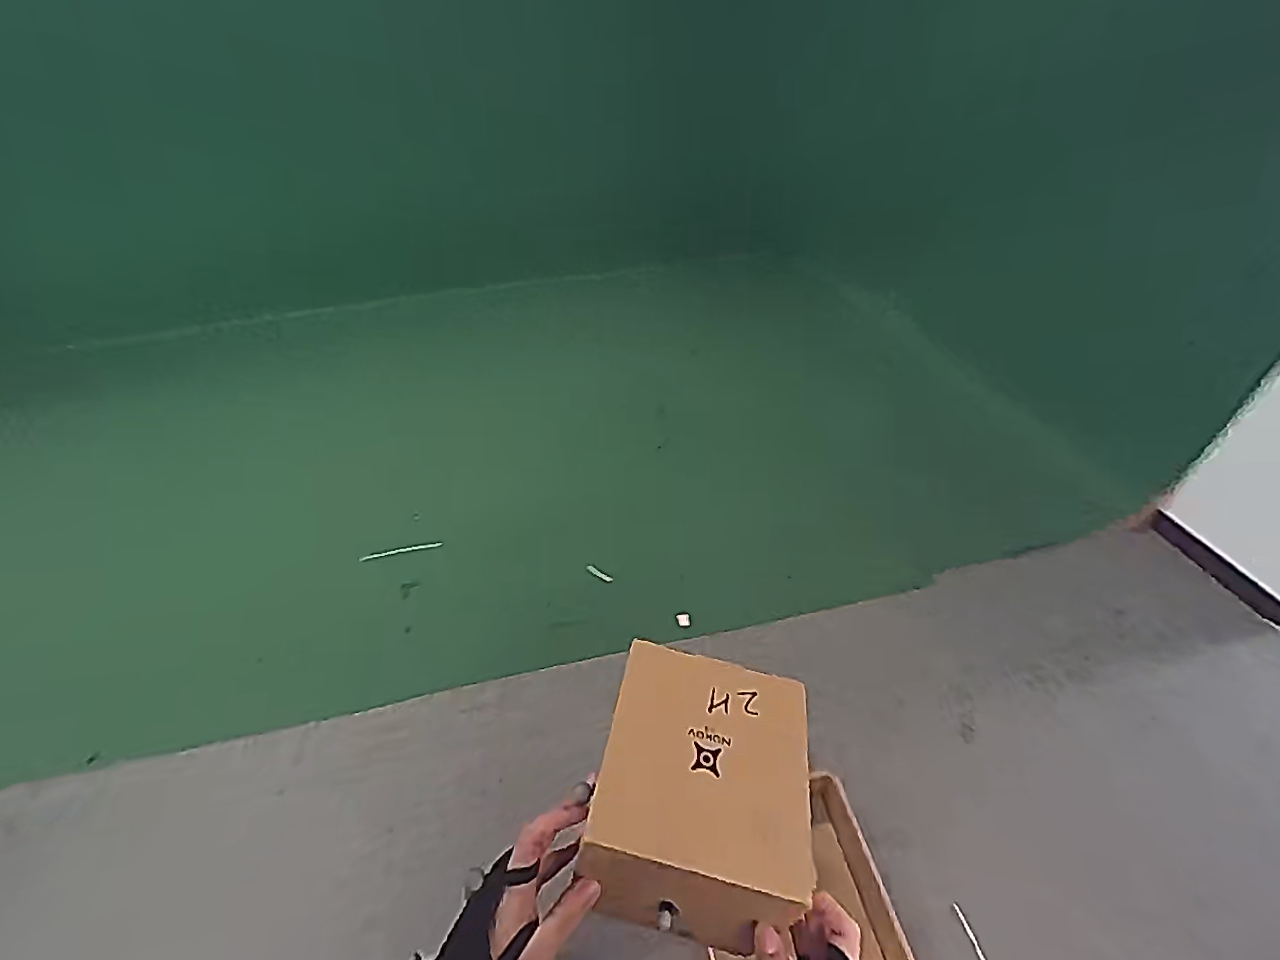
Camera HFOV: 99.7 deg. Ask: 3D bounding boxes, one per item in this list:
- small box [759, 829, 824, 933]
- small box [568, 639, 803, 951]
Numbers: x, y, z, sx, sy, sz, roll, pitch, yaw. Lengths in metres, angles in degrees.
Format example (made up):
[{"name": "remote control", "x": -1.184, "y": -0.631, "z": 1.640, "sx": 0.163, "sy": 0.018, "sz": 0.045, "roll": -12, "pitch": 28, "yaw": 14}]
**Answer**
[{"name": "small box", "x": 0.298, "y": 0.906, "z": 1.220, "sx": 0.179, "sy": 0.176, "sz": 0.168, "roll": -1, "pitch": 43, "yaw": 2}, {"name": "small box", "x": 0.038, "y": 0.281, "z": 0.485, "sx": 0.168, "sy": 0.176, "sz": 0.179, "roll": 14, "pitch": 38, "yaw": 3}]
